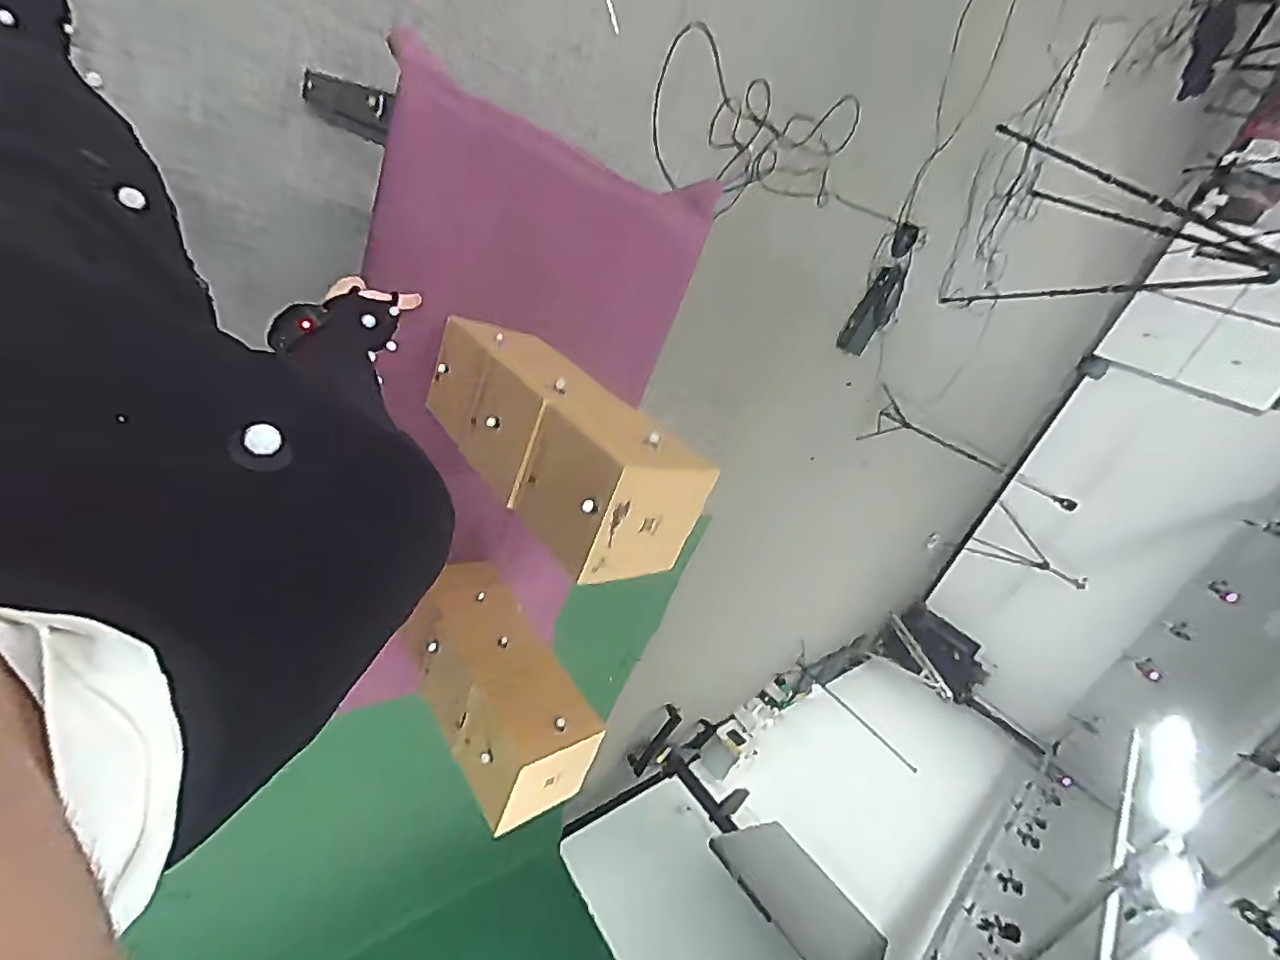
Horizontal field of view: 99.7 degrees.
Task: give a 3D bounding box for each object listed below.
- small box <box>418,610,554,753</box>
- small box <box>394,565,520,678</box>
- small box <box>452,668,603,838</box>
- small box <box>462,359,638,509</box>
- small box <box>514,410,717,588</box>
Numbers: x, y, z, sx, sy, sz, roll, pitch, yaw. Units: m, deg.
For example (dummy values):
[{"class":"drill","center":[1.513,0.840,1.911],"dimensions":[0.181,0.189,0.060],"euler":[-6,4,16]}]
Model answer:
[{"class":"small box","center":[-0.300,0.374,1.035],"dimensions":[0.179,0.176,0.168],"euler":[-1,121,-46]},{"class":"small box","center":[-0.390,0.294,1.147],"dimensions":[0.179,0.176,0.168],"euler":[4,117,-46]},{"class":"small box","center":[-0.201,0.460,0.940],"dimensions":[0.179,0.176,0.168],"euler":[-1,120,-46]},{"class":"small box","center":[-0.141,-0.068,0.813],"dimensions":[0.179,0.176,0.168],"euler":[3,120,-46]},{"class":"small box","center":[-0.037,0.018,0.720],"dimensions":[0.179,0.176,0.168],"euler":[0,121,-45]}]
